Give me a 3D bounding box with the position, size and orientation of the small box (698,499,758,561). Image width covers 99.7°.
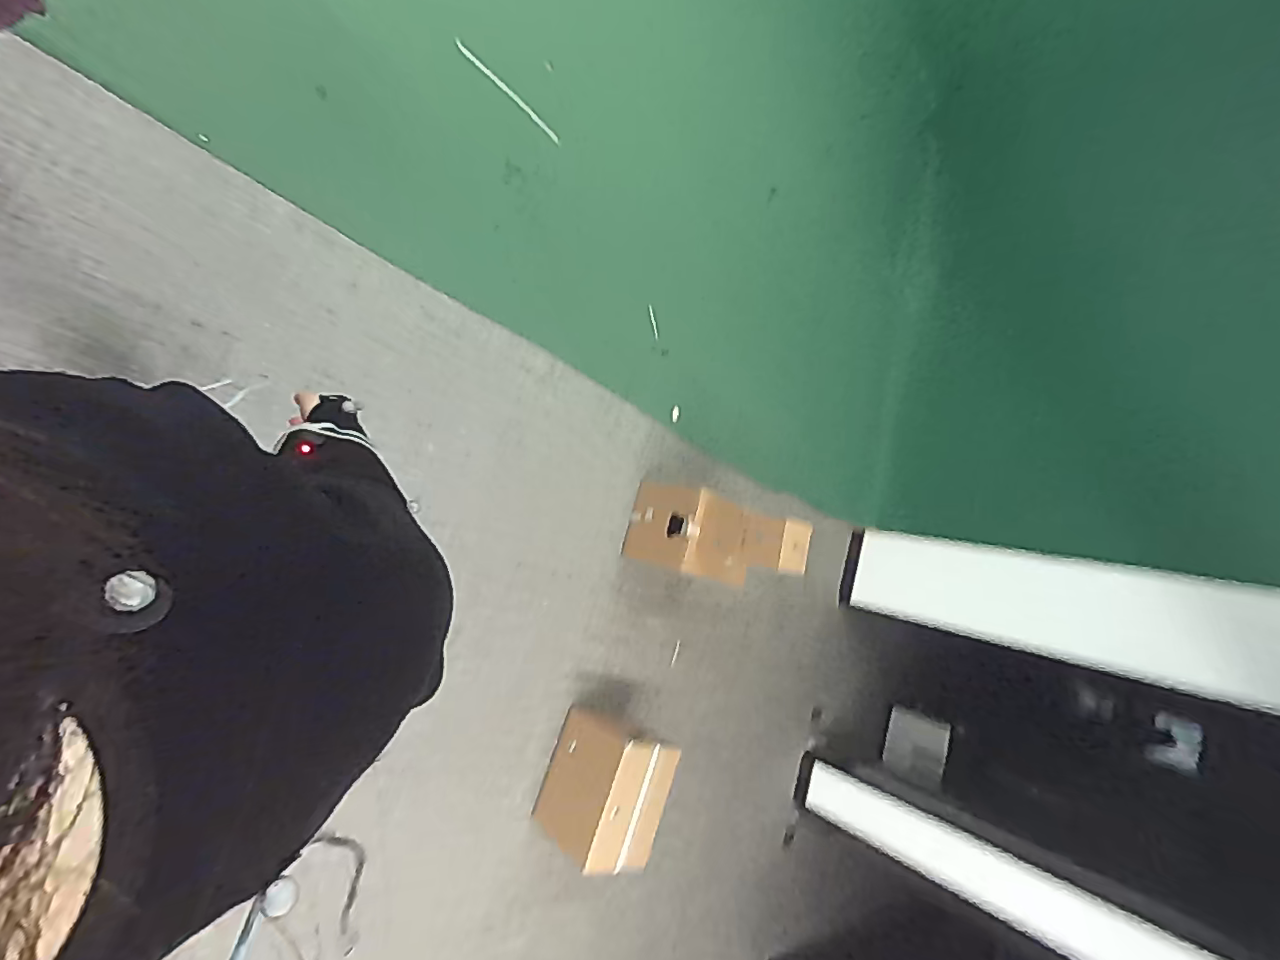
[{"bbox_3d":[0.326,0.175,1.922,0.168,0.176,0.179,21,79,-44],"label":"small box"}]

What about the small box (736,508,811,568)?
[{"bbox_3d":[0.445,0.191,1.809,0.179,0.176,0.168,16,84,-45],"label":"small box"}]

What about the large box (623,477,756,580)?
[{"bbox_3d":[0.200,0.190,2.142,0.408,0.320,0.320,23,79,-44],"label":"large box"}]
